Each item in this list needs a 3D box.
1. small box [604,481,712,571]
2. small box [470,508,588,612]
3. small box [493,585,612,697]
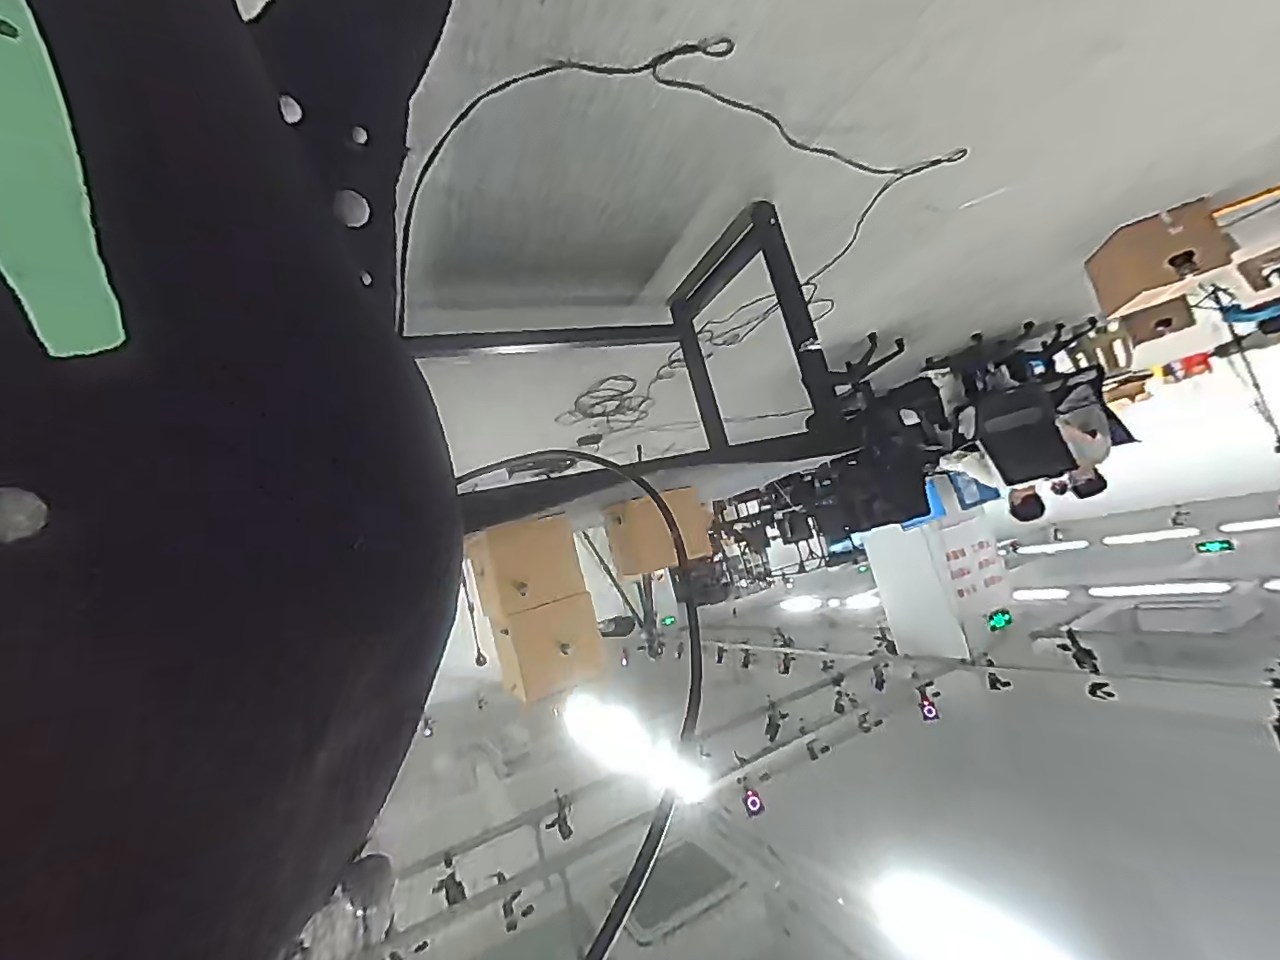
[{"bbox_3d":[0.036,0.106,1.262,0.179,0.176,0.168,-11,172,-26],"label":"small box"},{"bbox_3d":[-0.235,0.165,1.113,0.179,0.176,0.168,-12,174,-32],"label":"small box"},{"bbox_3d":[-0.188,0.323,1.114,0.179,0.176,0.168,-13,175,-30],"label":"small box"}]
